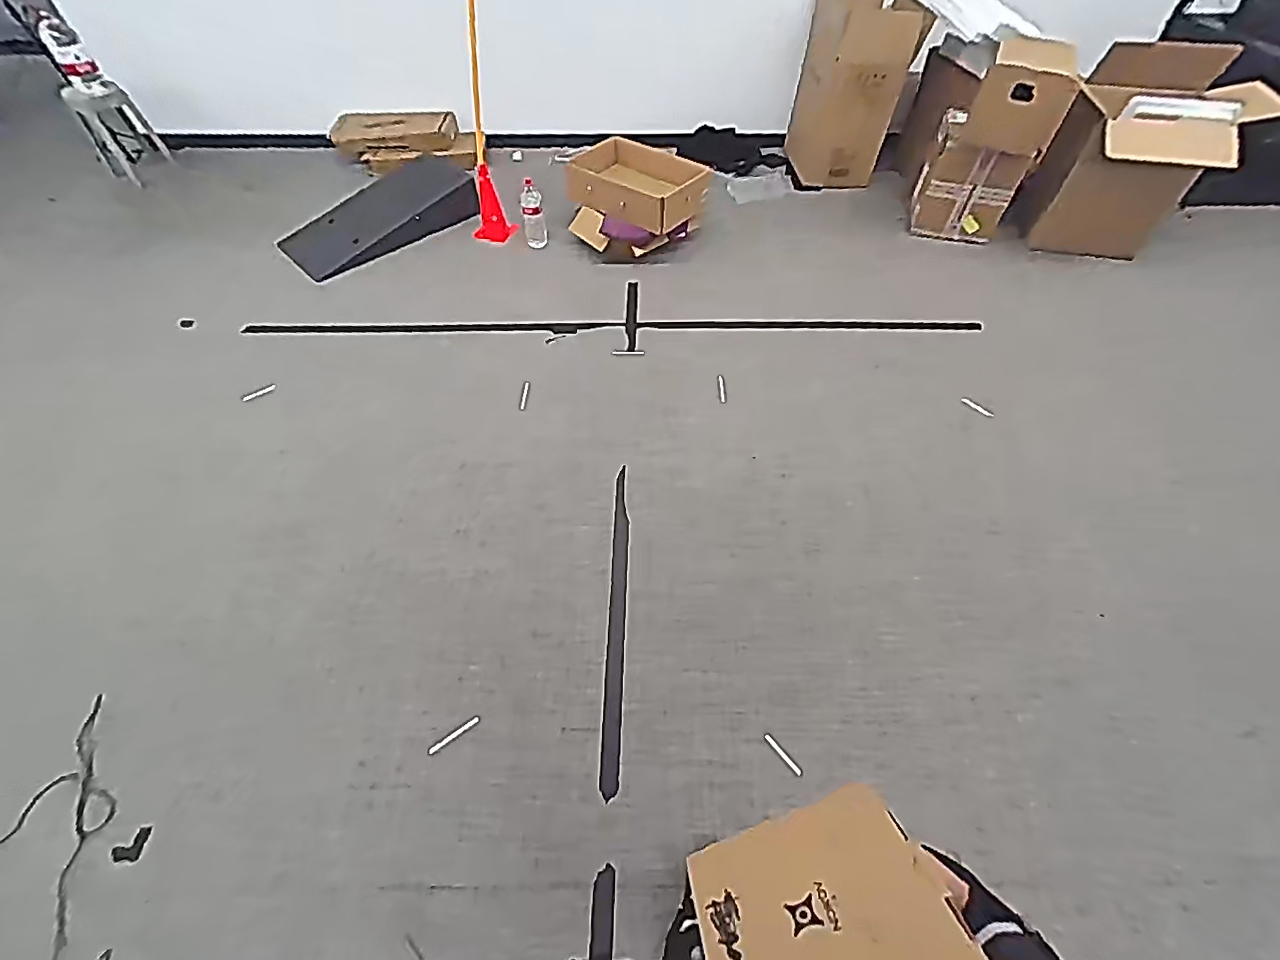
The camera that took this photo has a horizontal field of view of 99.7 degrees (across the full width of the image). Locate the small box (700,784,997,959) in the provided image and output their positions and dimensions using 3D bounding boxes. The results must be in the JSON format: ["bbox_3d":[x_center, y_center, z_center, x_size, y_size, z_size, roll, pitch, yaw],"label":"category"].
[{"bbox_3d":[0.167,0.391,0.420,0.179,0.176,0.168,-23,13,0],"label":"small box"}]
